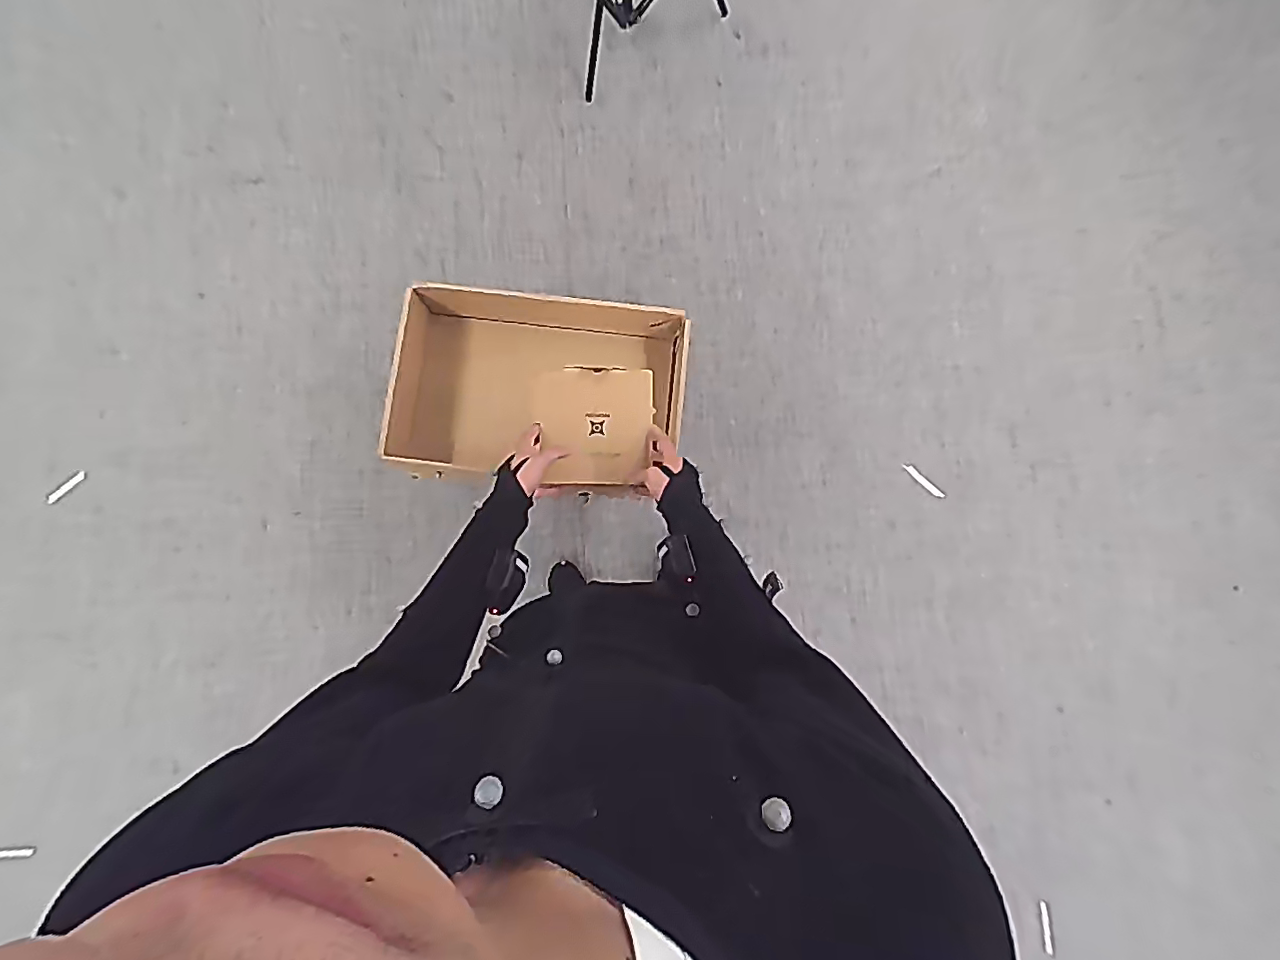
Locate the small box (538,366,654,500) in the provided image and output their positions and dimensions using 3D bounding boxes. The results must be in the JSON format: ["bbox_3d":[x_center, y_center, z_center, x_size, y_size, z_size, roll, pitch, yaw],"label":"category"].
[{"bbox_3d":[-0.070,-0.066,0.854,0.168,0.176,0.179,1,82,-5],"label":"small box"}]
